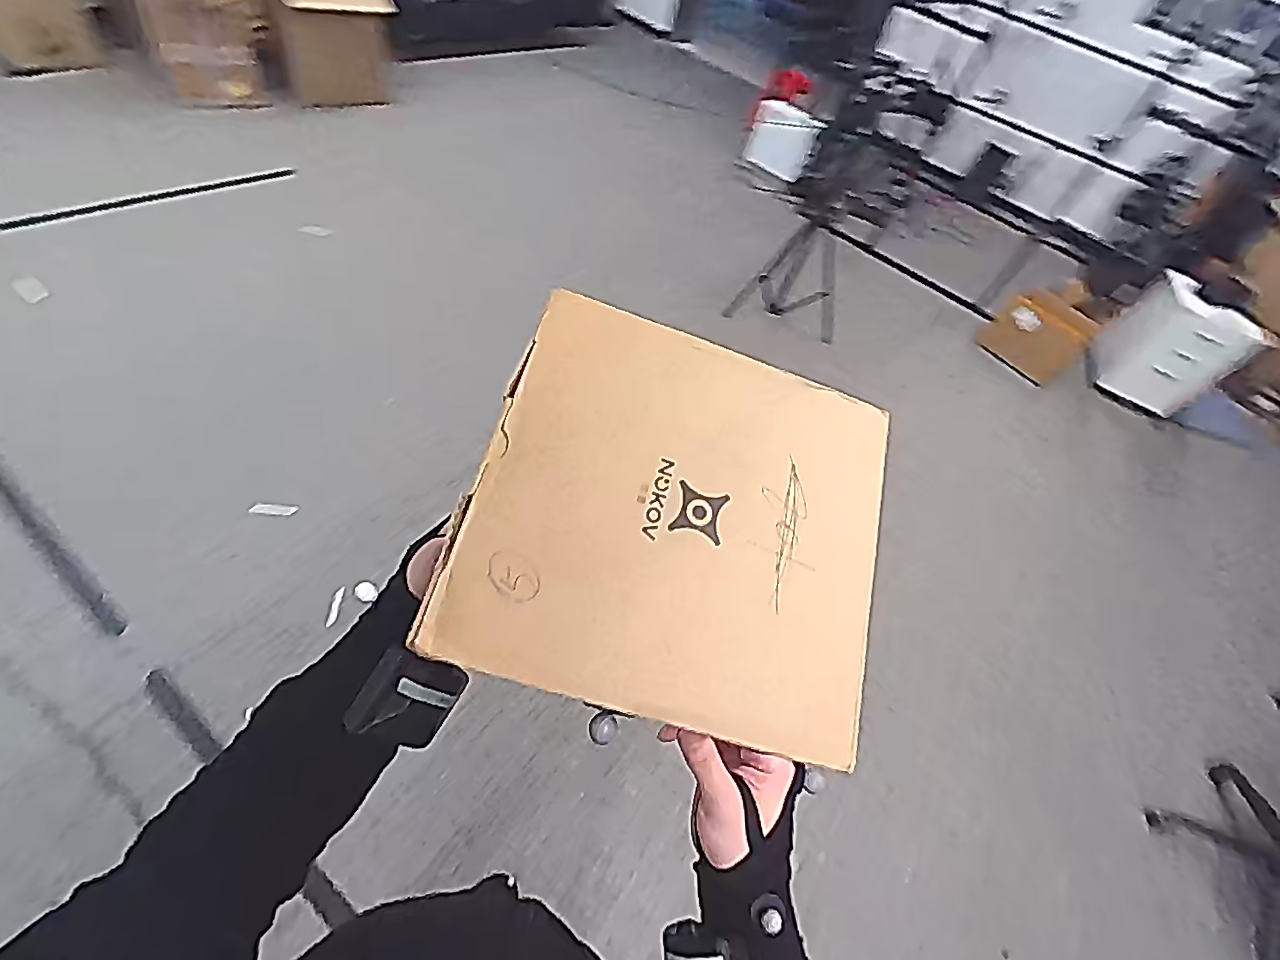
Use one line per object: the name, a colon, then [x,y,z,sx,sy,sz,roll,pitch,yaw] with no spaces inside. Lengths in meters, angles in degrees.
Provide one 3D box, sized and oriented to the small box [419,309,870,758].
small box: [-0.001,0.040,0.312,0.179,0.176,0.168,18,70,-9]
